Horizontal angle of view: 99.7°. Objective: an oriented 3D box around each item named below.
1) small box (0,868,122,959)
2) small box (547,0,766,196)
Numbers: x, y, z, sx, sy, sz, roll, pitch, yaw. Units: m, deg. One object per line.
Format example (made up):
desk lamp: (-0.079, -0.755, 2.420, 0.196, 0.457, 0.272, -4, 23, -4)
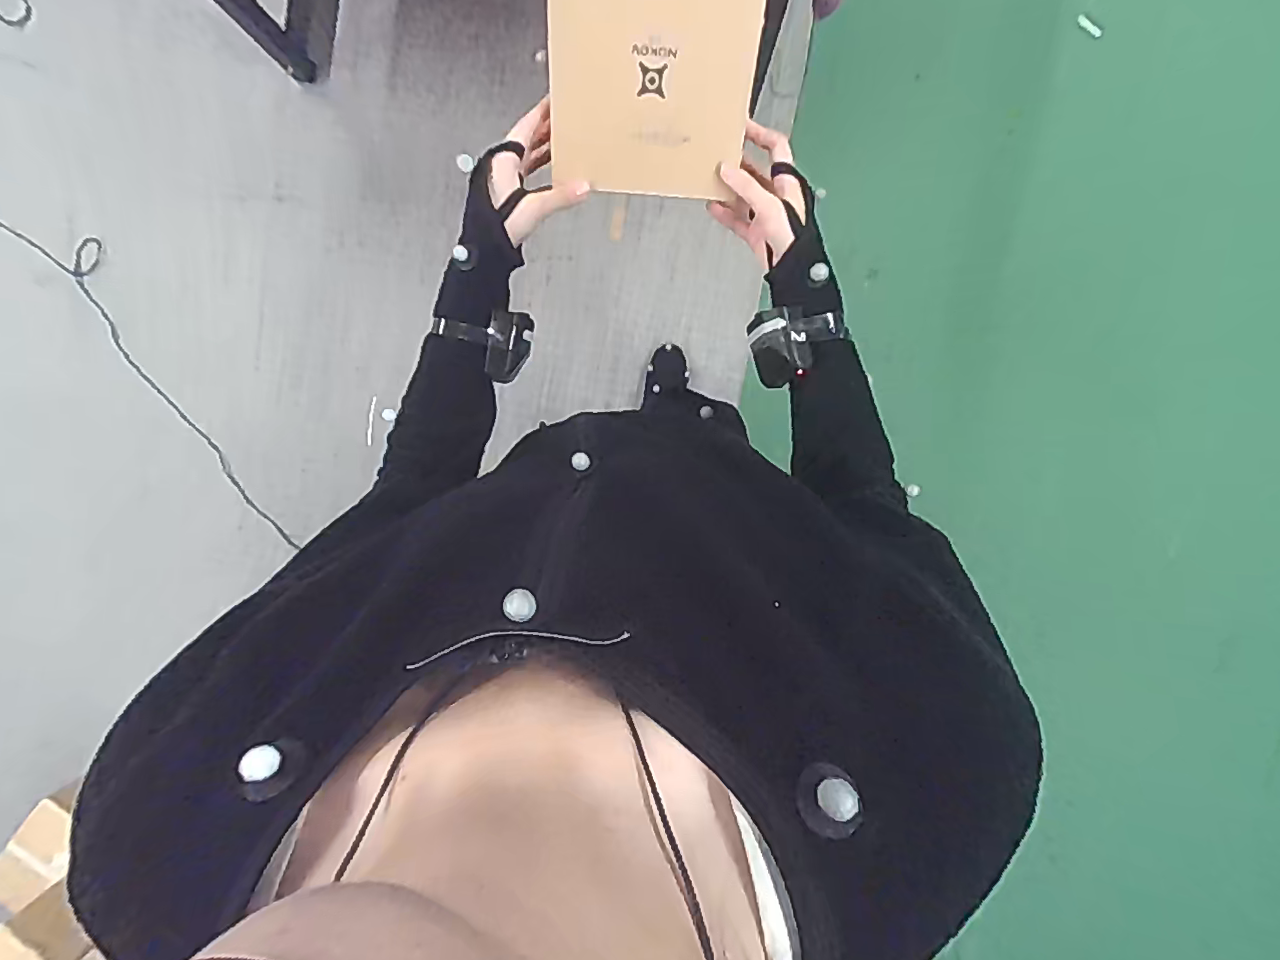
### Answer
small box: (-1.360, 1.053, 1.233, 0.168, 0.176, 0.179, 45, 95, -2)
small box: (0.006, -0.372, 0.487, 0.168, 0.176, 0.179, 3, 127, -3)
